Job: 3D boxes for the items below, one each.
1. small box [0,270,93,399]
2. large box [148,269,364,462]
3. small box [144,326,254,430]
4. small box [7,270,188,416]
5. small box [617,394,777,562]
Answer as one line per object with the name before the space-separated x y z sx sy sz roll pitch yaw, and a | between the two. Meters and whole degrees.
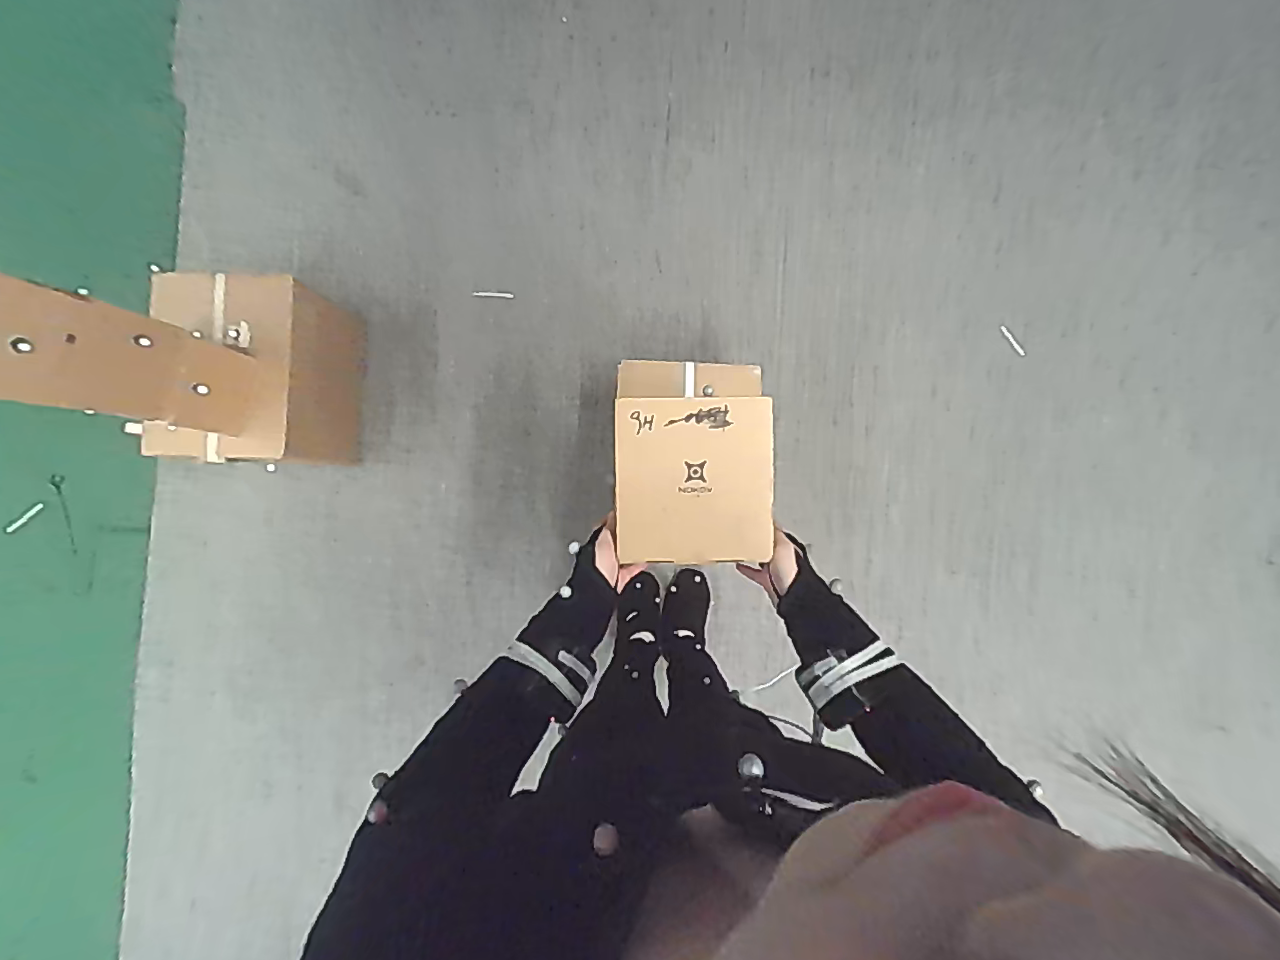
small box | -0.930 -0.219 0.744 0.179 0.176 0.168 17 89 2
large box | -0.901 -0.251 1.314 0.320 0.320 0.408 1 88 0
small box | -0.911 -0.206 1.071 0.168 0.176 0.179 13 90 1
small box | -0.918 -0.219 0.908 0.168 0.176 0.179 16 90 2
small box | 0.059 -0.008 0.638 0.168 0.176 0.179 0 93 0
